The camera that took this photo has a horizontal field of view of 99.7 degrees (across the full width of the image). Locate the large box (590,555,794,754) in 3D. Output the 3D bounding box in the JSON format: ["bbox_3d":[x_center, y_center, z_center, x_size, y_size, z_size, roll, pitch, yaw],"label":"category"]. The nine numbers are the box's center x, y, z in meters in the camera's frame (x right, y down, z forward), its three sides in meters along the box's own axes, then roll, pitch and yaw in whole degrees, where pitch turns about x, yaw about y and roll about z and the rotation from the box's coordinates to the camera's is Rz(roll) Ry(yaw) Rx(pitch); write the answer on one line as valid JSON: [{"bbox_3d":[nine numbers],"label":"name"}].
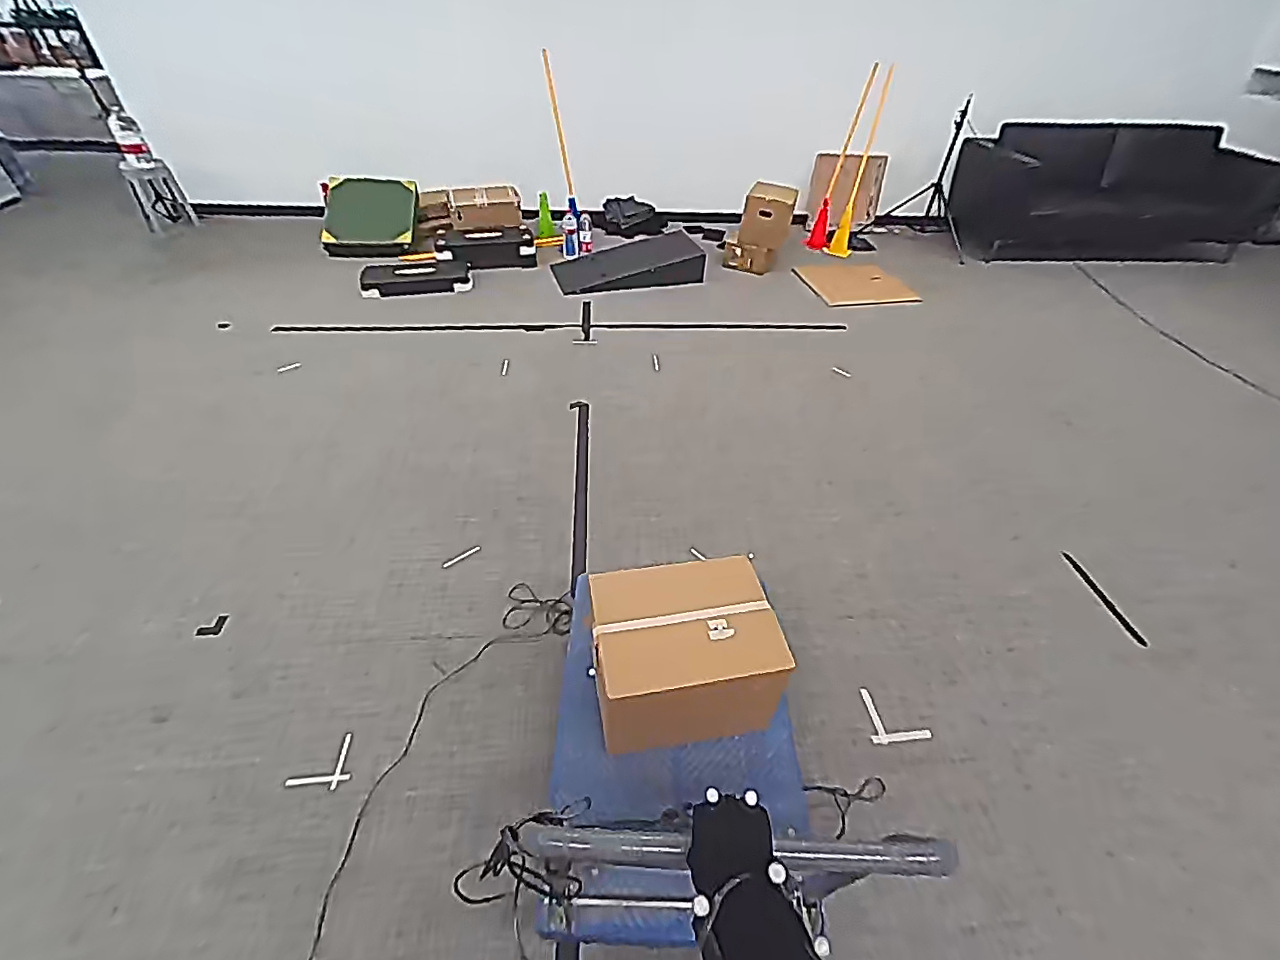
[{"bbox_3d":[0.097,0.418,1.313,0.408,0.320,0.320,-5,44,-10],"label":"large box"}]
